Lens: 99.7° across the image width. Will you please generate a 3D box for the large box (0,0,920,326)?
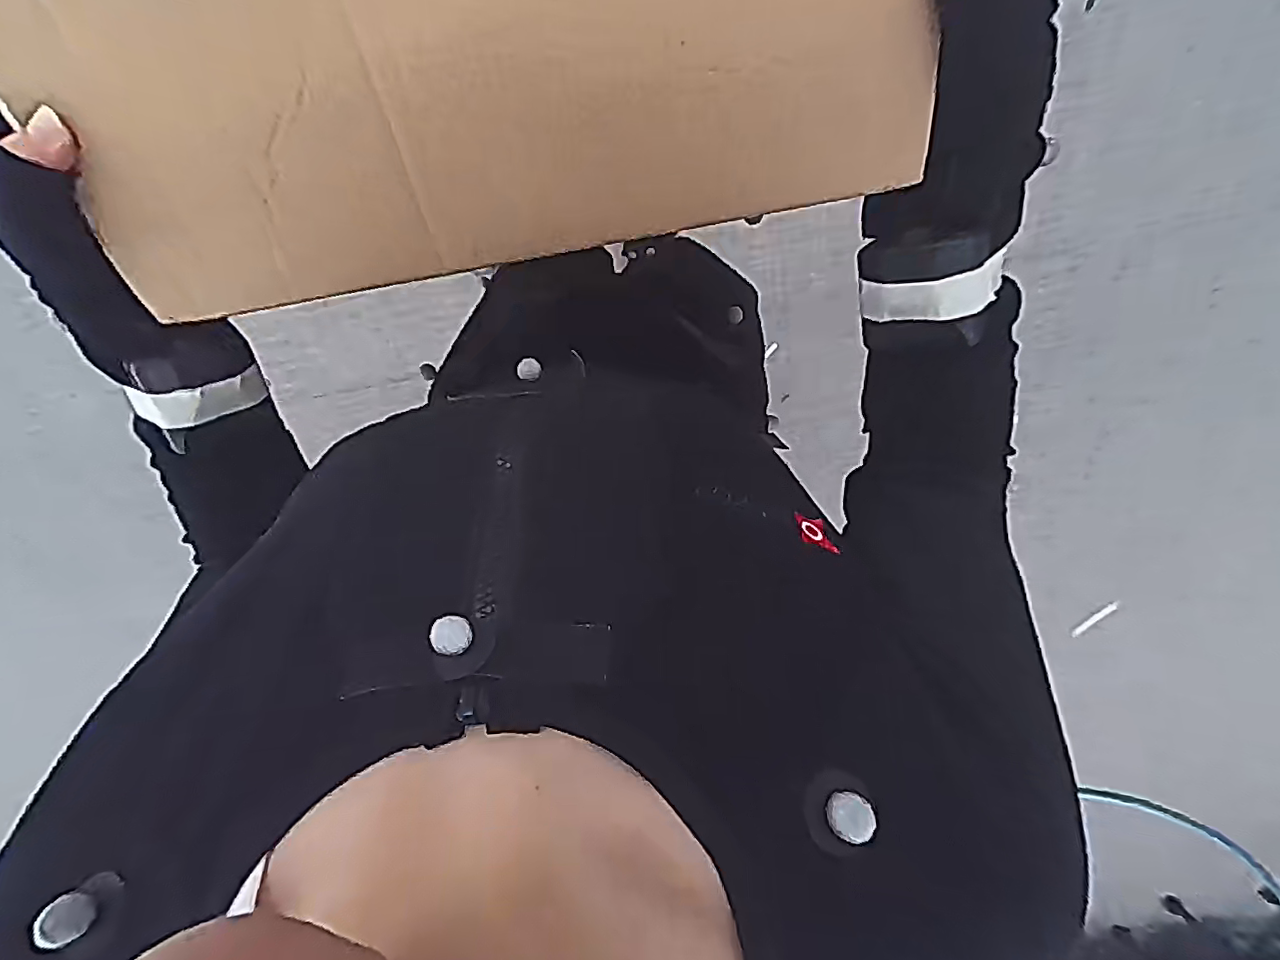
[{"bbox_3d":[-0.093,-0.328,0.314,0.408,0.320,0.320,-8,126,6],"label":"large box"}]
